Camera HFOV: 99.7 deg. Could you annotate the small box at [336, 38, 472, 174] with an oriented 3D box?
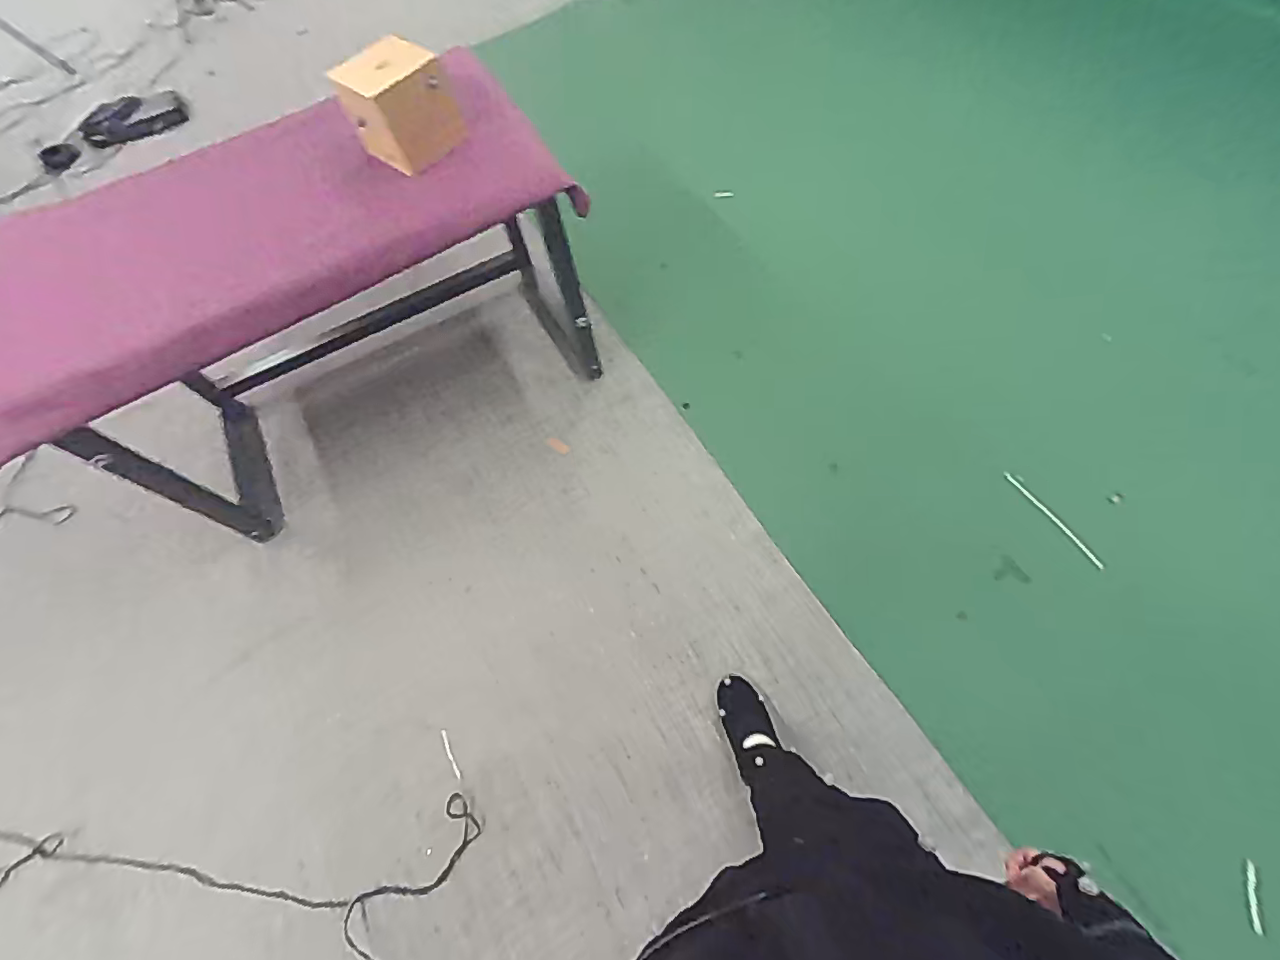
[{"bbox_3d":[-0.499,-0.802,1.169,0.168,0.176,0.179,37,72,21],"label":"small box"}]
